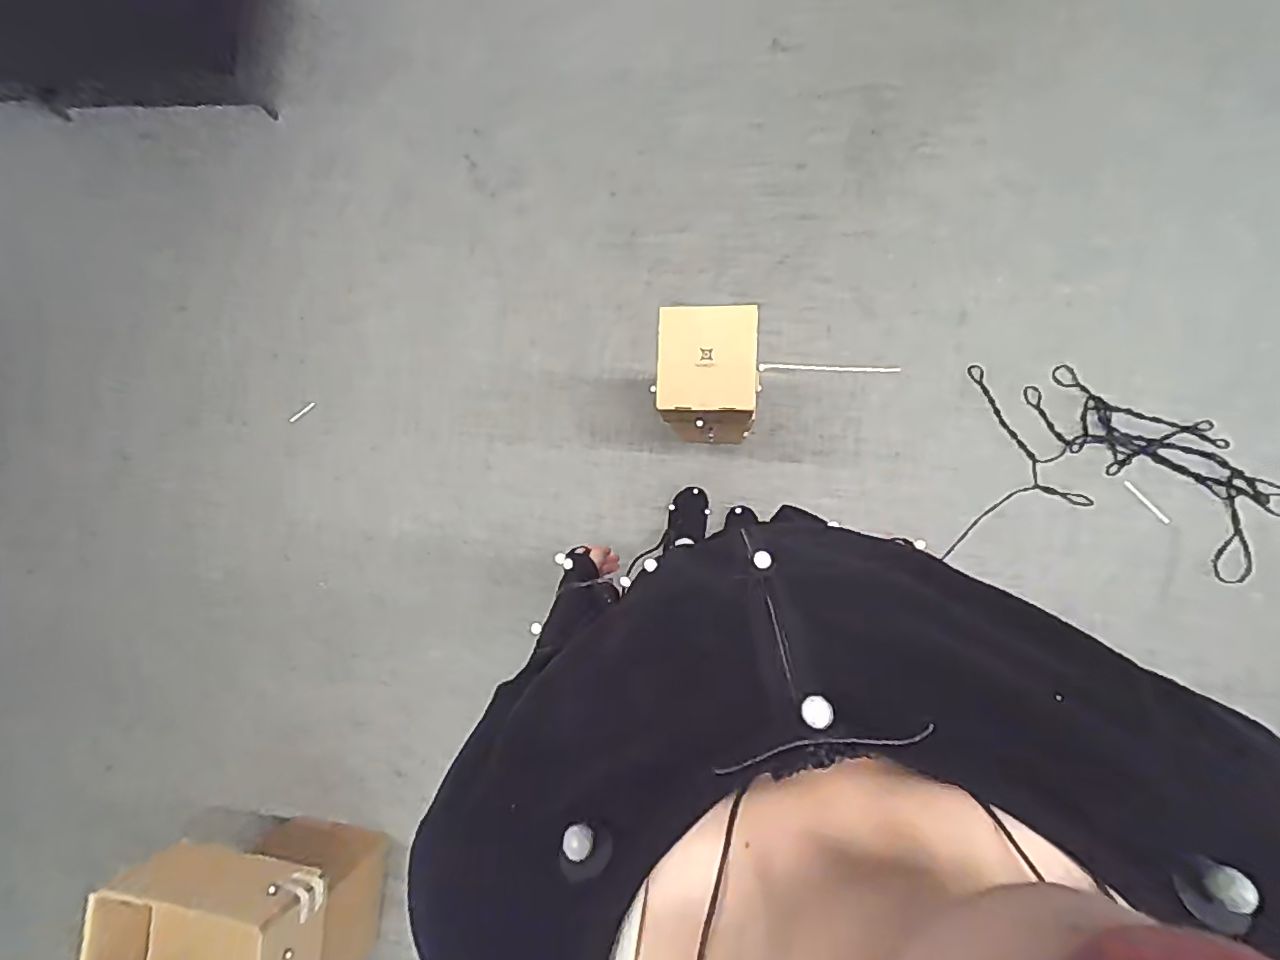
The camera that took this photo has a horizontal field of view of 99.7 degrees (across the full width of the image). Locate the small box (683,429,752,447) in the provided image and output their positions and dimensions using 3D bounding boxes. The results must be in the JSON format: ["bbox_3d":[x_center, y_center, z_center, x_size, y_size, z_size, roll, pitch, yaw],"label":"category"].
[{"bbox_3d":[0.212,-0.182,1.452,0.179,0.176,0.168,3,87,8],"label":"small box"}]

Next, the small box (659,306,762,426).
[{"bbox_3d":[0.127,-0.197,0.969,0.168,0.176,0.179,1,88,9],"label":"small box"}]

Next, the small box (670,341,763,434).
[{"bbox_3d":[0.158,-0.189,1.129,0.179,0.176,0.168,2,87,8],"label":"small box"}]
